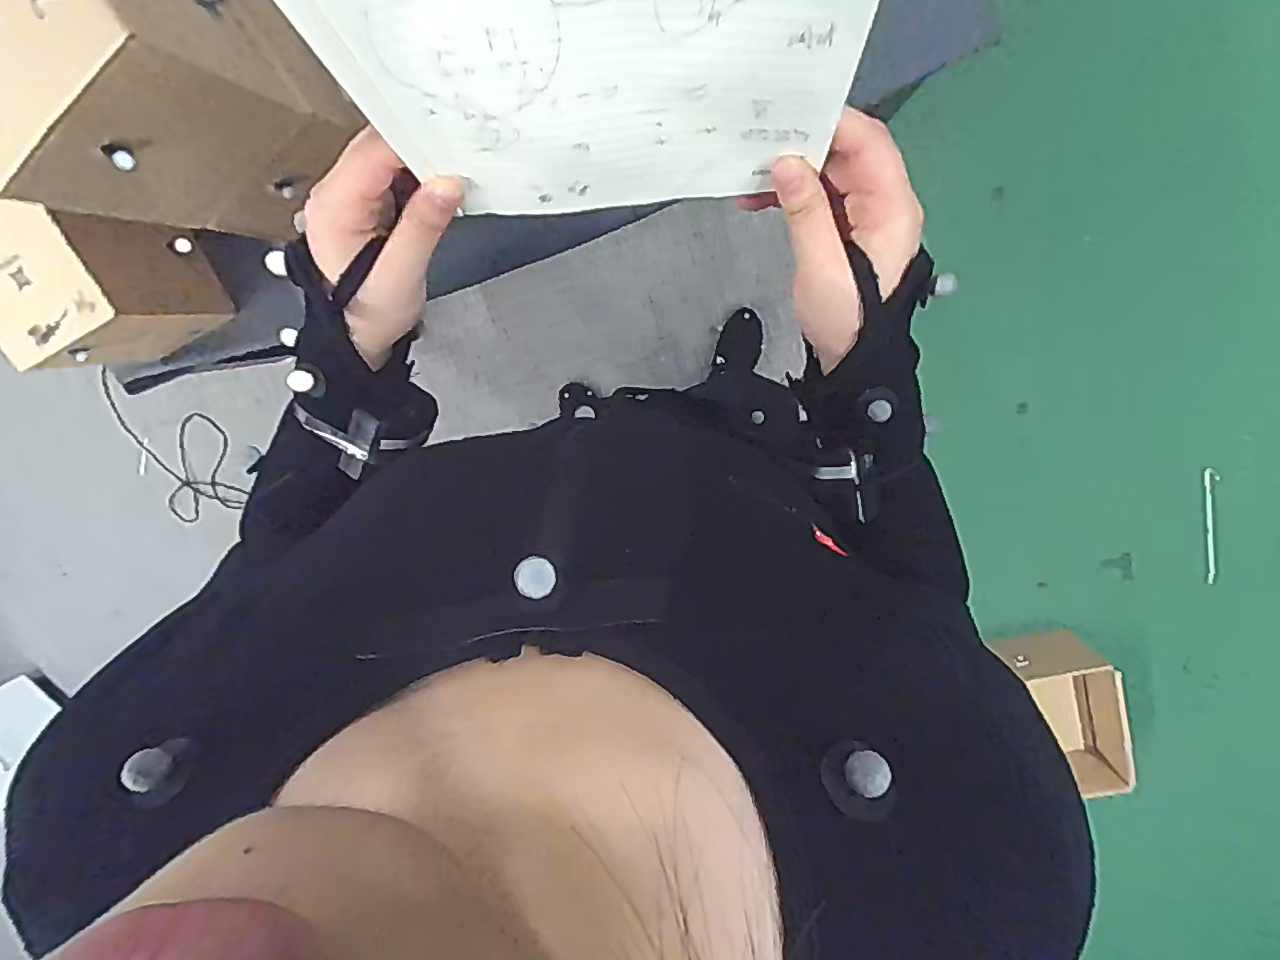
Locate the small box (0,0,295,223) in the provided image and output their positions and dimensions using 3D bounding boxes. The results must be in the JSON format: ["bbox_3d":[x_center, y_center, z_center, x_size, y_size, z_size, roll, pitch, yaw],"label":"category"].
[{"bbox_3d":[-0.439,-0.338,0.442,0.179,0.176,0.168,-30,102,16],"label":"small box"}]

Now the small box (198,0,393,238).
[{"bbox_3d":[-0.417,-0.393,0.595,0.179,0.176,0.168,-33,102,17],"label":"small box"}]

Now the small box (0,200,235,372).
[{"bbox_3d":[-0.675,-0.254,0.677,0.168,0.176,0.179,-21,104,14],"label":"small box"}]
